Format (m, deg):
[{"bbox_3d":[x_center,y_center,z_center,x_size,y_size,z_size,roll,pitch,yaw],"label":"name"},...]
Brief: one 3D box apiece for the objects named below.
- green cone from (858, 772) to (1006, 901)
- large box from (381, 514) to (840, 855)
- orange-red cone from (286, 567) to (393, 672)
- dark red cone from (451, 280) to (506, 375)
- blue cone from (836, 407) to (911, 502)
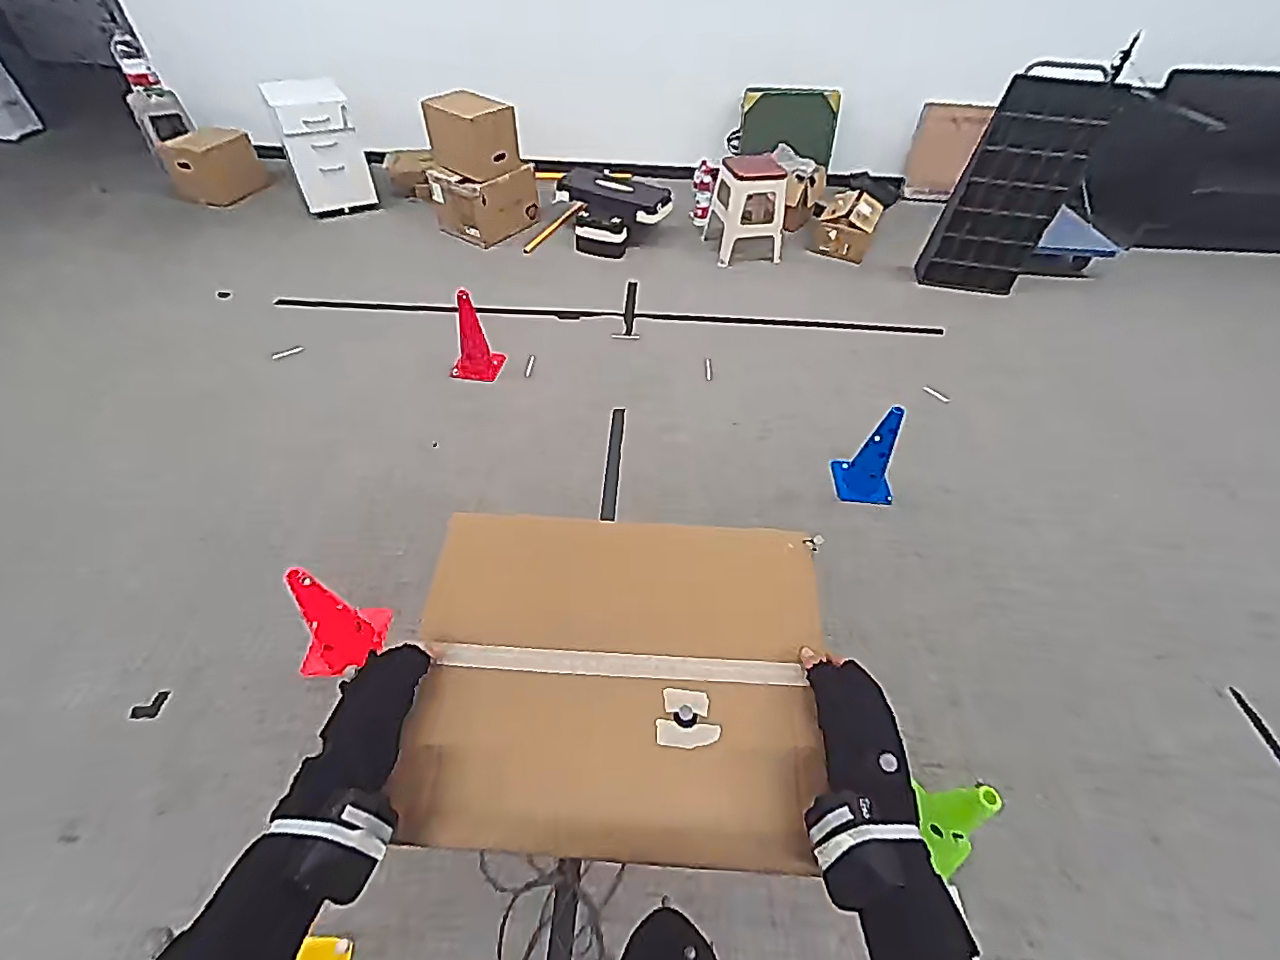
[{"bbox_3d":[0.651,0.708,1.136,0.202,0.368,0.200,-26,55,-25],"label":"green cone"},{"bbox_3d":[-0.021,0.257,0.664,0.408,0.320,0.320,4,58,2],"label":"large box"},{"bbox_3d":[-0.817,0.335,1.402,0.198,0.360,0.199,0,49,-1],"label":"orange-red cone"},{"bbox_3d":[-0.697,-0.640,2.254,0.201,0.394,0.202,8,48,3],"label":"dark red cone"},{"bbox_3d":[0.845,-0.104,1.900,0.192,0.380,0.193,6,48,1],"label":"blue cone"}]
